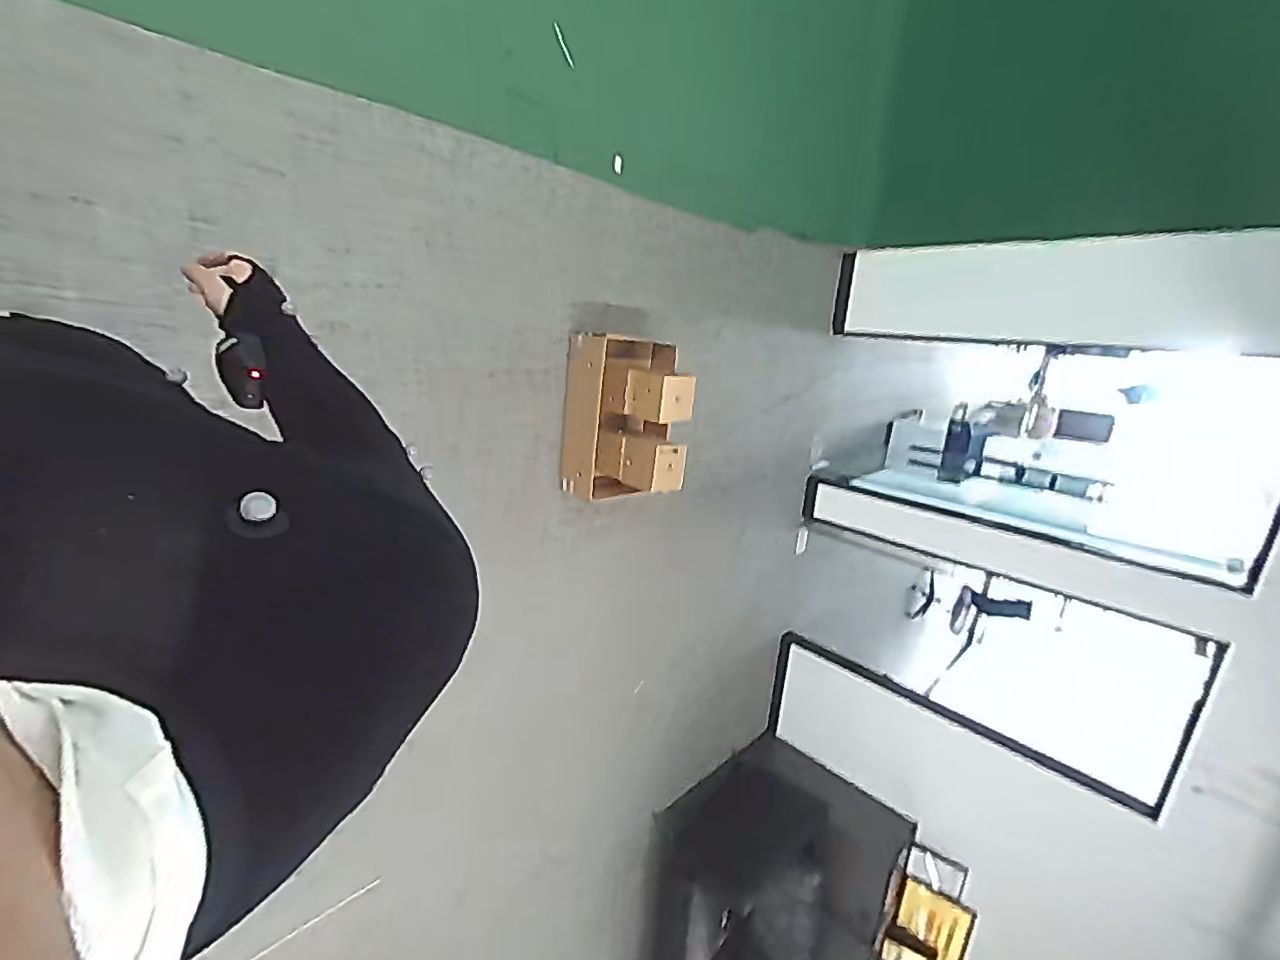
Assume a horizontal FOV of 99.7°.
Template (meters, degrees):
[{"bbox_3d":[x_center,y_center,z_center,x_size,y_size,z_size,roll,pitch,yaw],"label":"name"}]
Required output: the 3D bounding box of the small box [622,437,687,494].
[{"bbox_3d":[0.050,-0.058,2.026,0.168,0.176,0.179,-4,107,-44],"label":"small box"}]

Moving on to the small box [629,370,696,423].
[{"bbox_3d":[0.077,-0.307,1.973,0.179,0.176,0.168,-12,114,-44],"label":"small box"}]
